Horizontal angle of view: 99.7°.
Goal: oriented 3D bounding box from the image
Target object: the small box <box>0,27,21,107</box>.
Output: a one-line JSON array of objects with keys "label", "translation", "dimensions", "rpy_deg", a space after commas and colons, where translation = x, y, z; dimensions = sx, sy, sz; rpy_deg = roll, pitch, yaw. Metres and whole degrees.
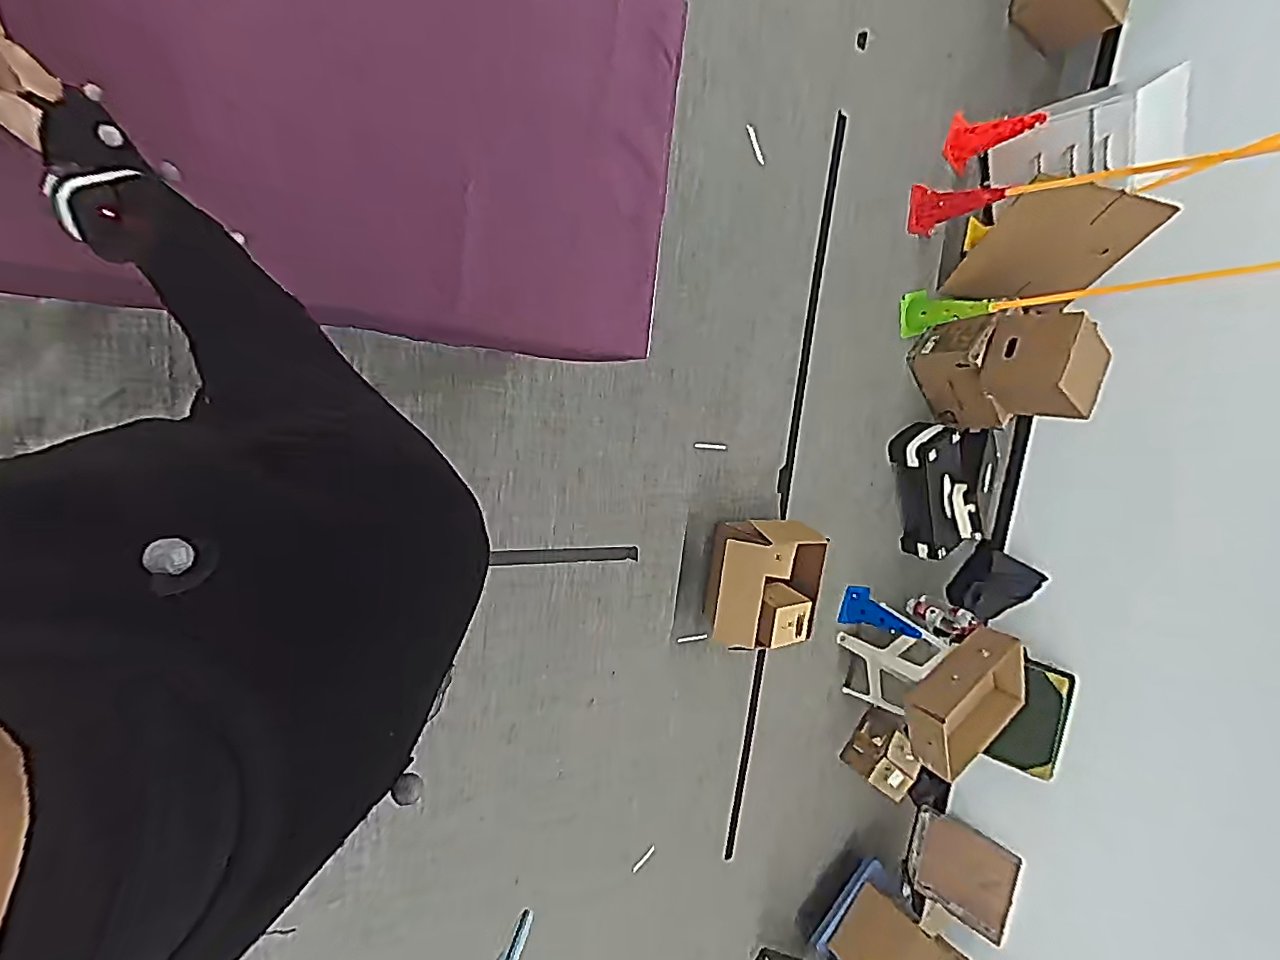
[{"label": "small box", "translation": [-0.675, -0.440, 0.436], "dimensions": [0.168, 0.176, 0.179], "rpy_deg": [-14, 109, -29]}]
